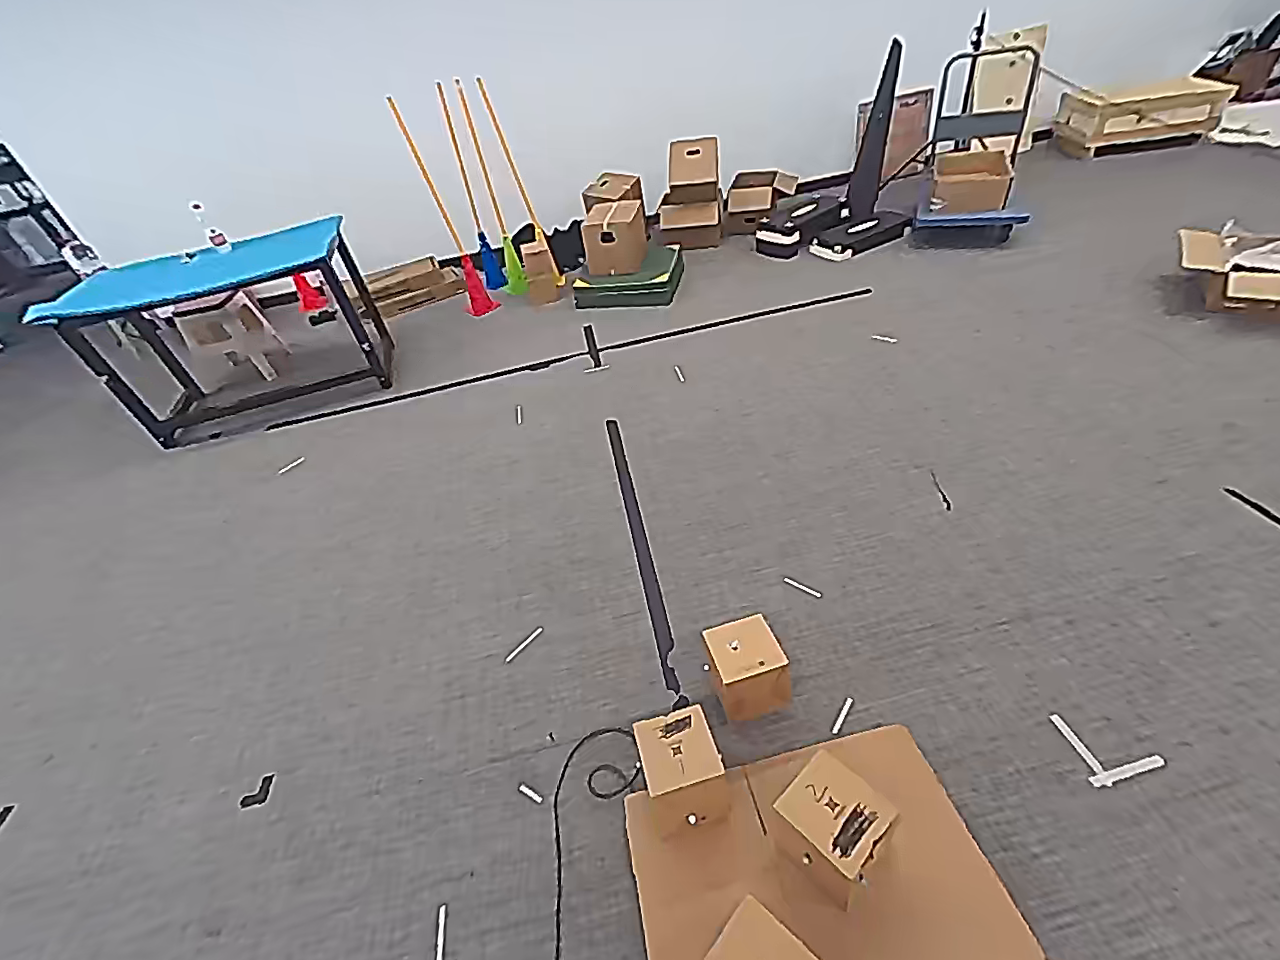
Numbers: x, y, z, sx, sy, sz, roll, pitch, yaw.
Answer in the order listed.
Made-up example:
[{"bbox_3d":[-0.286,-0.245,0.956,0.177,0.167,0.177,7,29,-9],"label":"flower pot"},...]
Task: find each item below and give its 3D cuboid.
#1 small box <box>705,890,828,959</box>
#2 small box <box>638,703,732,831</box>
[{"bbox_3d":[0.210,0.863,0.919,0.168,0.176,0.179,25,49,39],"label":"small box"},{"bbox_3d":[0.100,0.650,1.228,0.168,0.176,0.179,-14,32,-6],"label":"small box"}]
